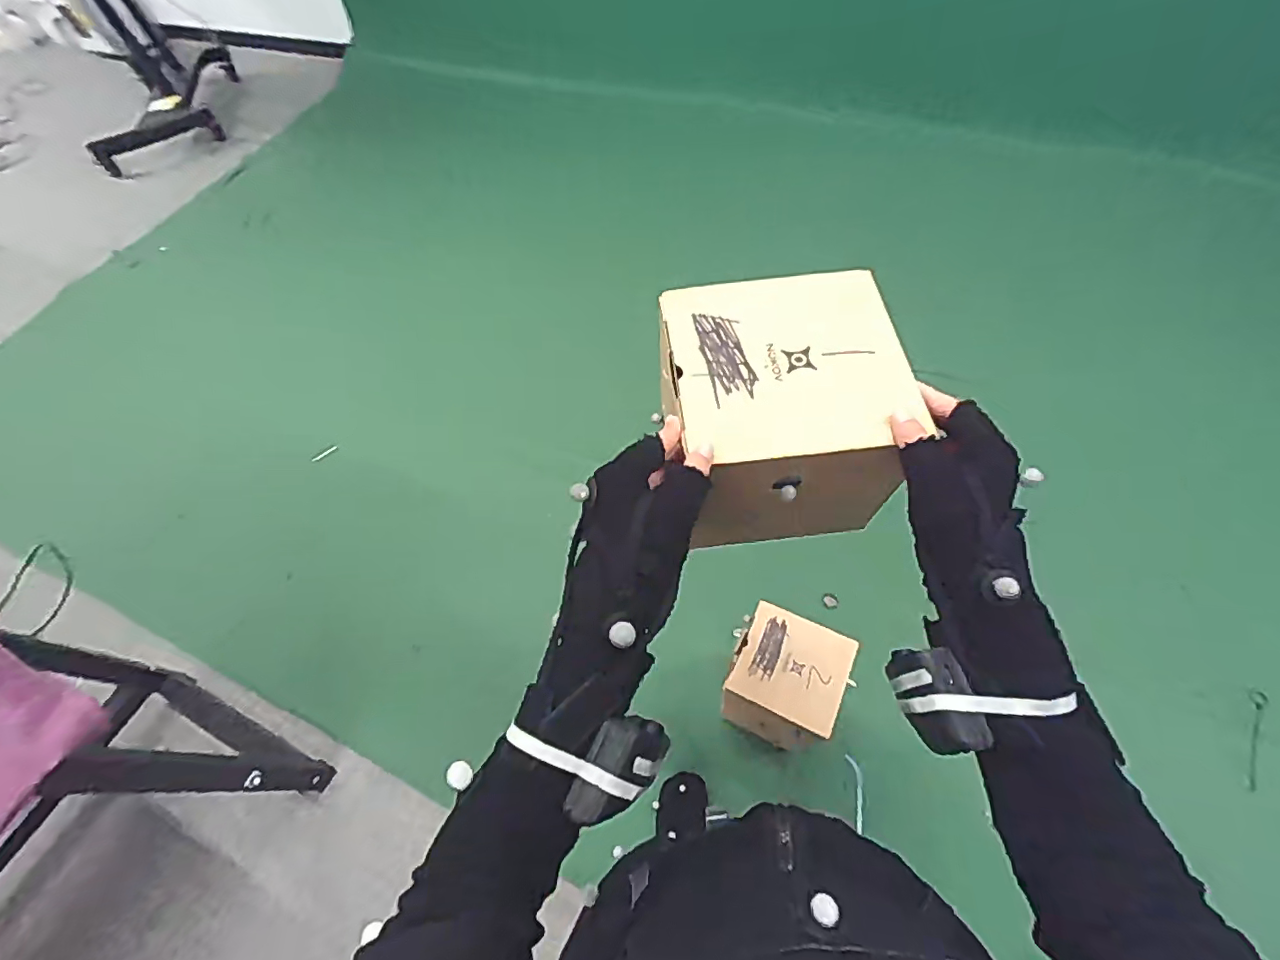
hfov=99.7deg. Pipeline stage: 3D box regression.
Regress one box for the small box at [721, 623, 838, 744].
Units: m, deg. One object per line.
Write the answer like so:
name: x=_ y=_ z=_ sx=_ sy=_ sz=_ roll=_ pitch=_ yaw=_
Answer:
small box: x=0.278 y=0.421 z=1.107 sx=0.179 sy=0.176 sz=0.168 roll=22 pitch=65 yaw=17

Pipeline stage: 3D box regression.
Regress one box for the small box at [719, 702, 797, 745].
small box: x=0.294 y=0.494 z=1.252 sx=0.179 sy=0.176 sz=0.168 roll=22 pitch=64 yaw=16
